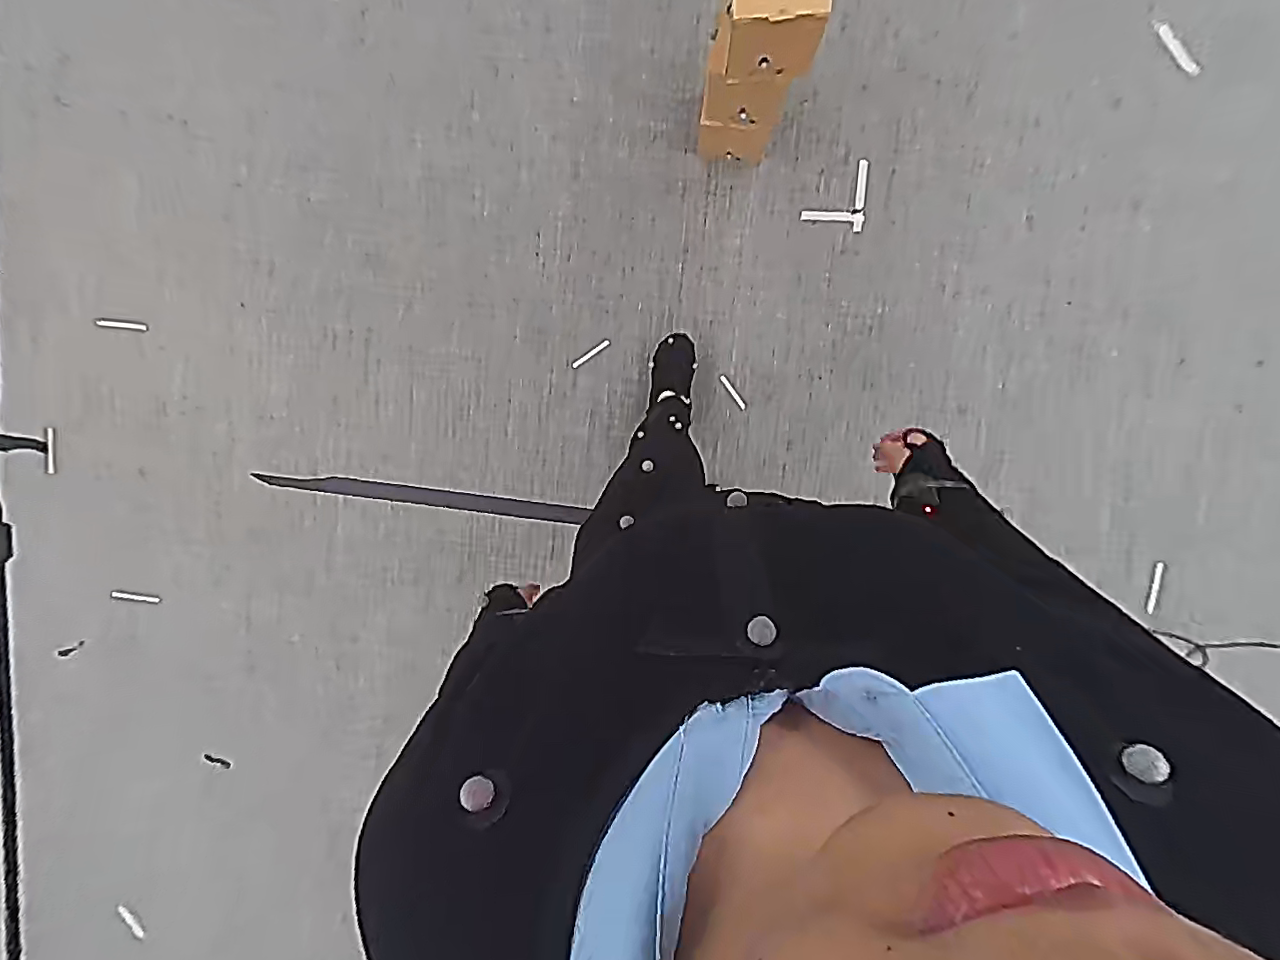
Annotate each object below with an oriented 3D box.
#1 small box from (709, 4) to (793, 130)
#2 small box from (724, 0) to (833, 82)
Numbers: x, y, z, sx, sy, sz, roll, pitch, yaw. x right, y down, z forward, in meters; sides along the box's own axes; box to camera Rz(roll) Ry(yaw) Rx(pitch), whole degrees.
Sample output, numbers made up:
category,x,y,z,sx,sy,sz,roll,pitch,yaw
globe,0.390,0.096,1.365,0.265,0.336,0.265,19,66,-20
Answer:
category,x,y,z,sx,sy,sz,roll,pitch,yaw
small box,0.240,-0.881,1.137,0.168,0.176,0.179,10,97,4
small box,0.242,-0.865,0.974,0.168,0.176,0.179,-1,96,4
